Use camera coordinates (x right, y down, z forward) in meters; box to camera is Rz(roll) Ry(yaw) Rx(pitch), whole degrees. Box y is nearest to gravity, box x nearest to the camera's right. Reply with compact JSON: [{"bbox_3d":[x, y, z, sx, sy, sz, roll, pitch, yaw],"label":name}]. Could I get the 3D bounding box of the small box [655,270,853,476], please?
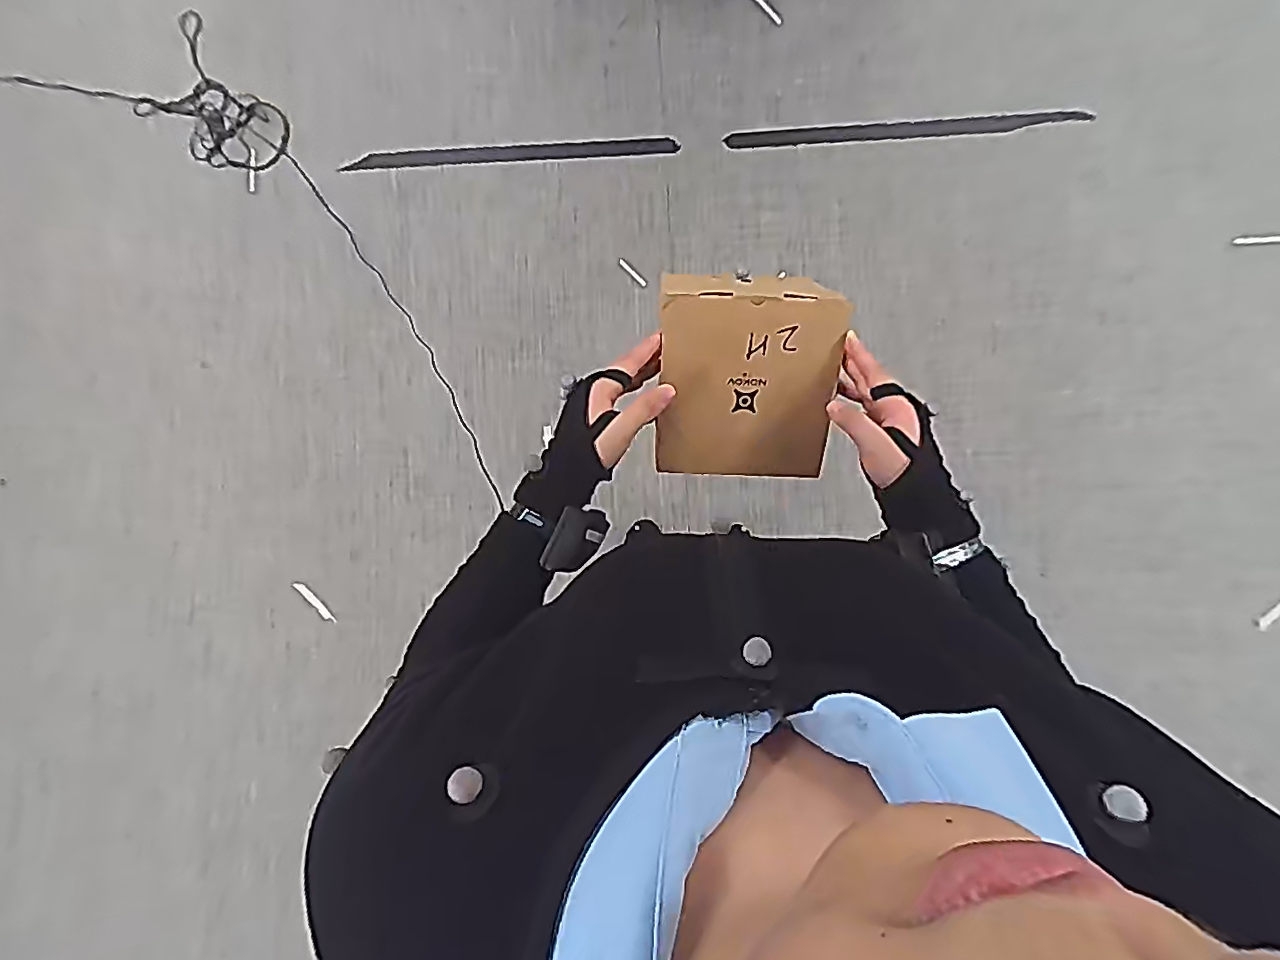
[{"bbox_3d":[0.103,-0.120,0.574,0.168,0.176,0.179,2,115,1],"label":"small box"}]
